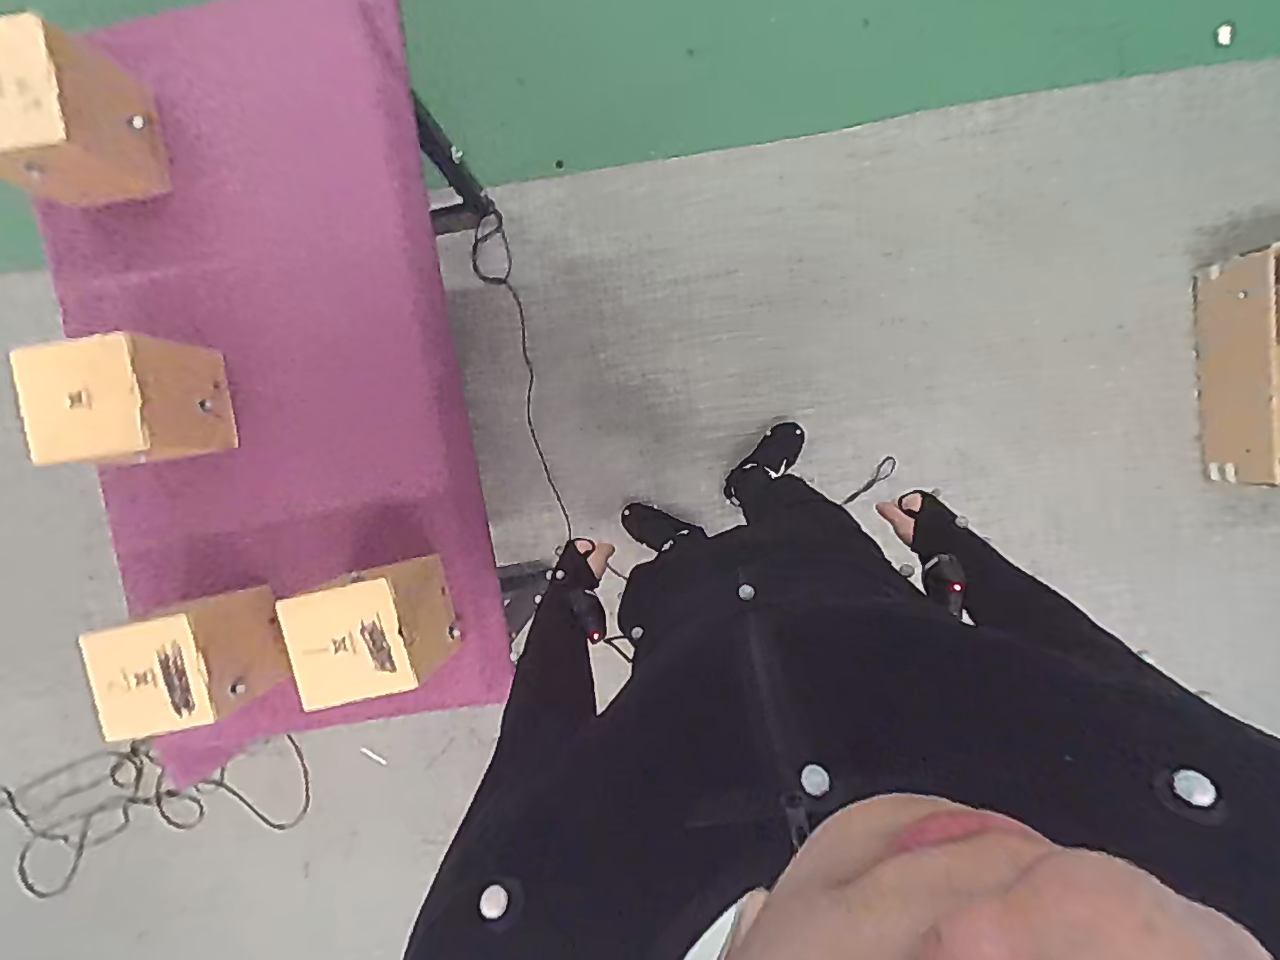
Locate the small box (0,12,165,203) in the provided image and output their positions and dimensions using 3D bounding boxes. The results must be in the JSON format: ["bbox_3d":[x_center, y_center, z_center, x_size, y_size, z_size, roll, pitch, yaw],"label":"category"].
[{"bbox_3d":[-0.874,-0.535,0.803,0.179,0.176,0.168,-8,96,2],"label":"small box"}]

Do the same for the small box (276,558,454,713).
[{"bbox_3d":[-0.408,0.229,0.839,0.179,0.176,0.168,-13,93,5],"label":"small box"}]

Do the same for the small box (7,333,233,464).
[{"bbox_3d":[-0.785,-0.116,0.834,0.179,0.176,0.168,-9,93,2],"label":"small box"}]
